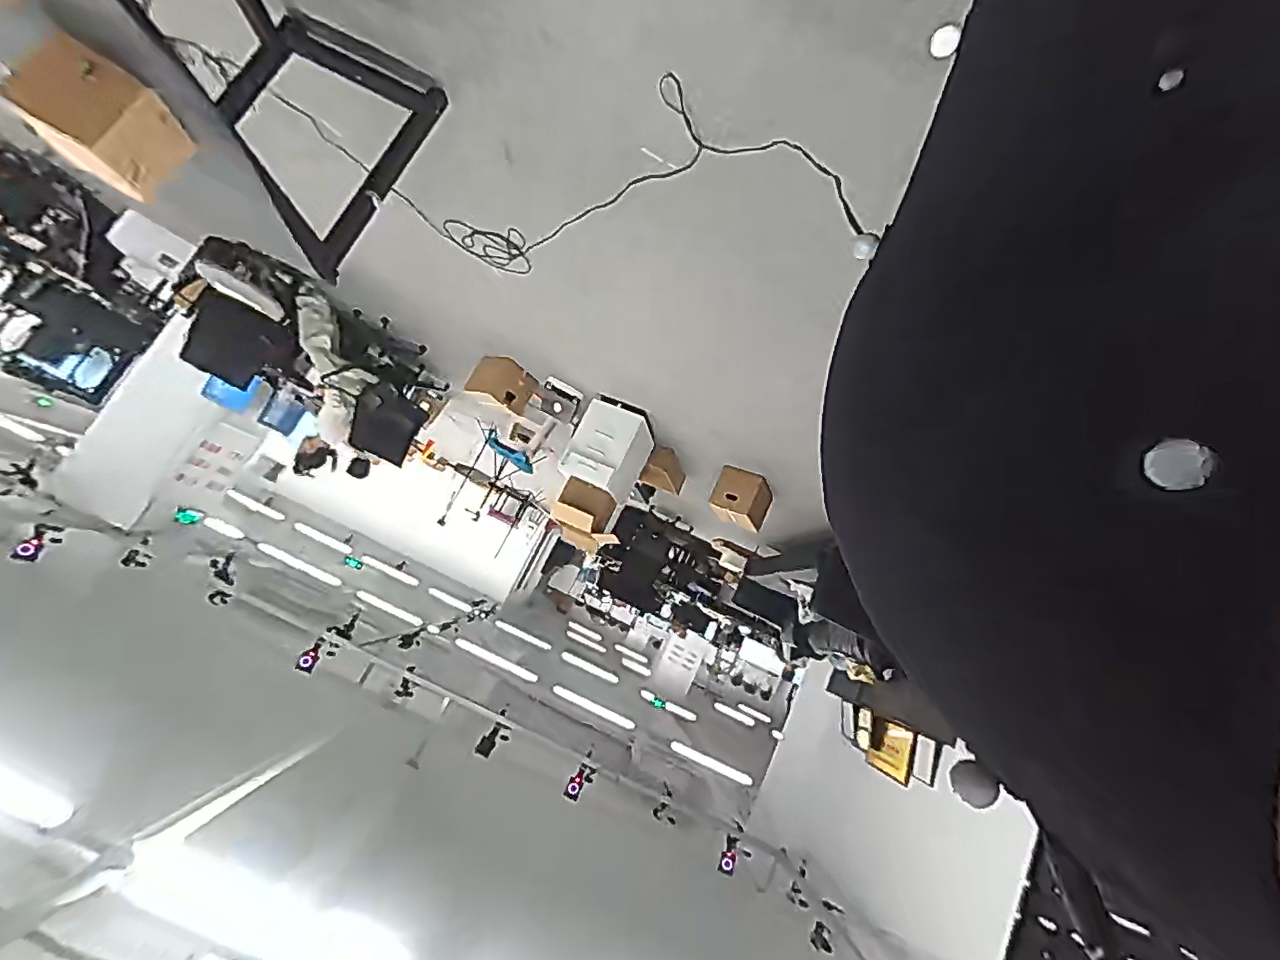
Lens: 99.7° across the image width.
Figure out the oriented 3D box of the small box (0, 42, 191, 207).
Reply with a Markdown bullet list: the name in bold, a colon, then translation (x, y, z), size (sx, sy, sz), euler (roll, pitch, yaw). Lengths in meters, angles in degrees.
- **small box**: translation (-1.034, -0.682, 1.039), size (0.179, 0.176, 0.168), euler (30, 168, -9)
